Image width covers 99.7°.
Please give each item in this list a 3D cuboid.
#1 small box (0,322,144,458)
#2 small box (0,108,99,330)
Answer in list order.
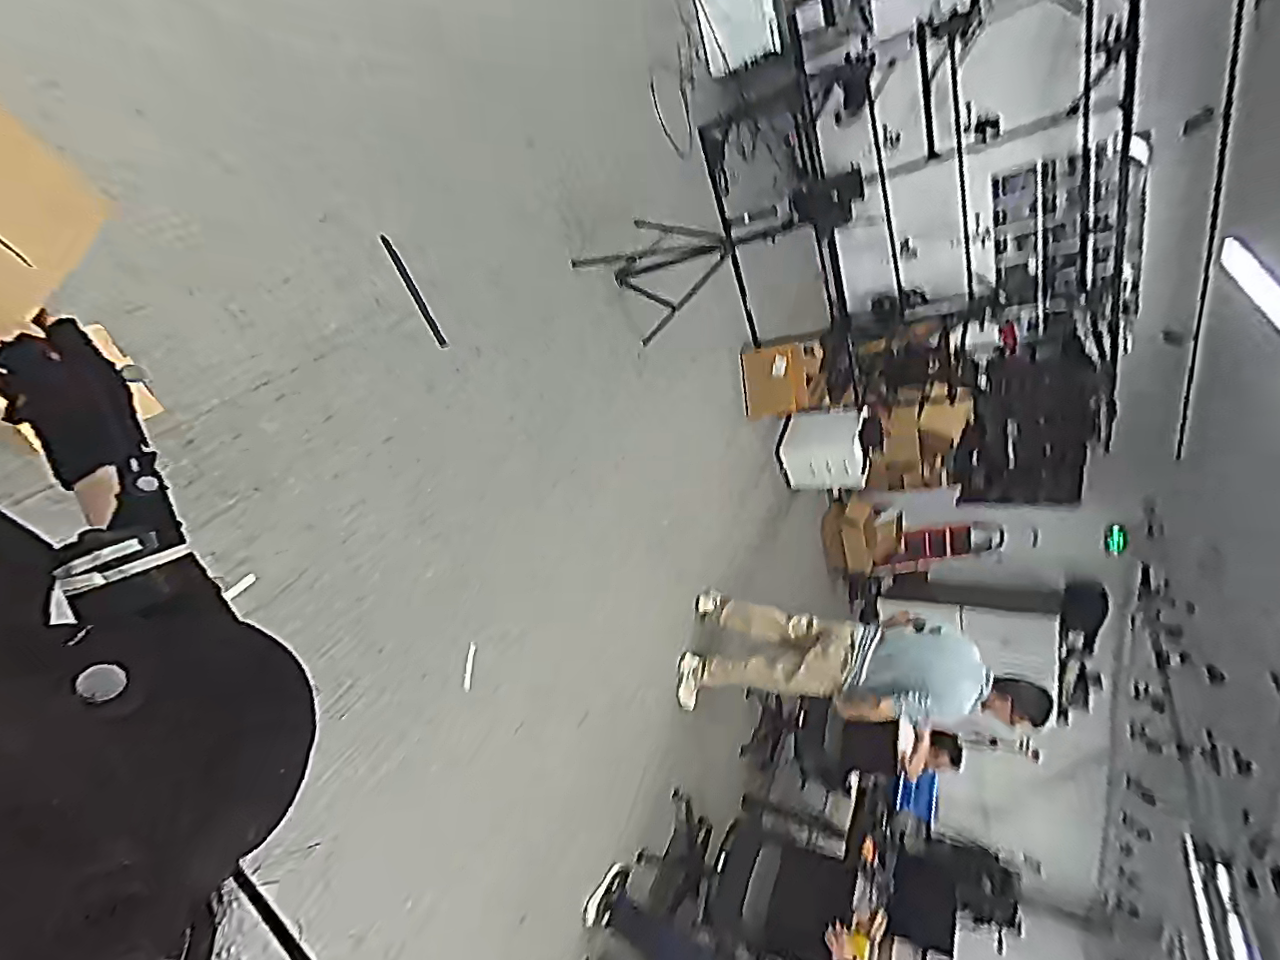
[{"bbox_3d":[-1.002,-0.149,0.900,0.179,0.176,0.168,-47,127,-47],"label":"small box"},{"bbox_3d":[-0.549,-0.207,0.352,0.179,0.176,0.168,87,16,-68],"label":"small box"}]
